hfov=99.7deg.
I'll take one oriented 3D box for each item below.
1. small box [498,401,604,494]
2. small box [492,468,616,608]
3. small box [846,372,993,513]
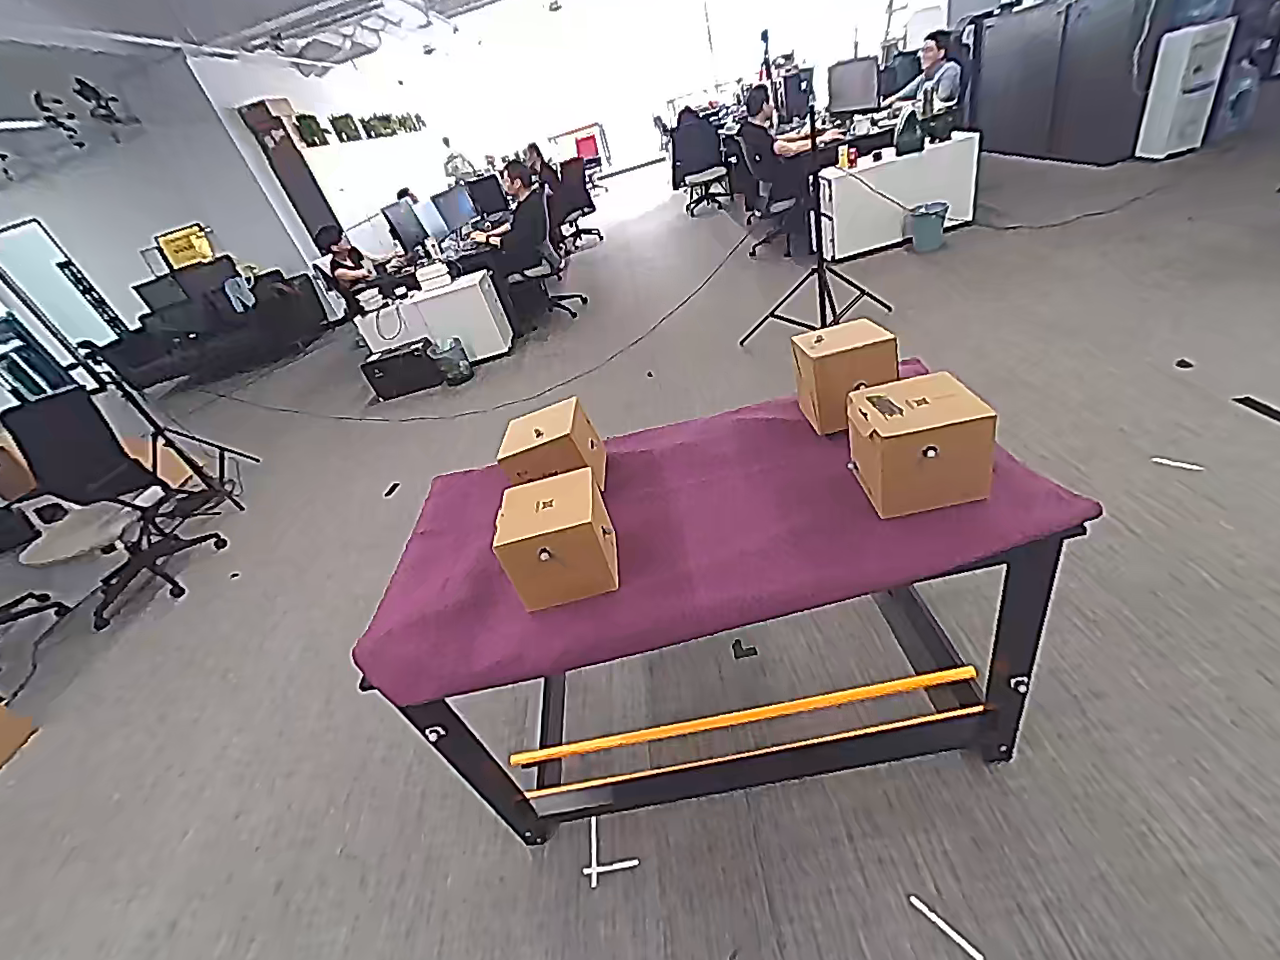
[{"bbox_3d":[-0.189,-0.054,1.210,0.179,0.168,0.176,-18,33,12],"label":"small box"},{"bbox_3d":[-0.146,0.108,0.990,0.179,0.176,0.168,-15,34,5],"label":"small box"},{"bbox_3d":[0.476,-0.062,0.938,0.179,0.176,0.168,-12,34,8],"label":"small box"}]
